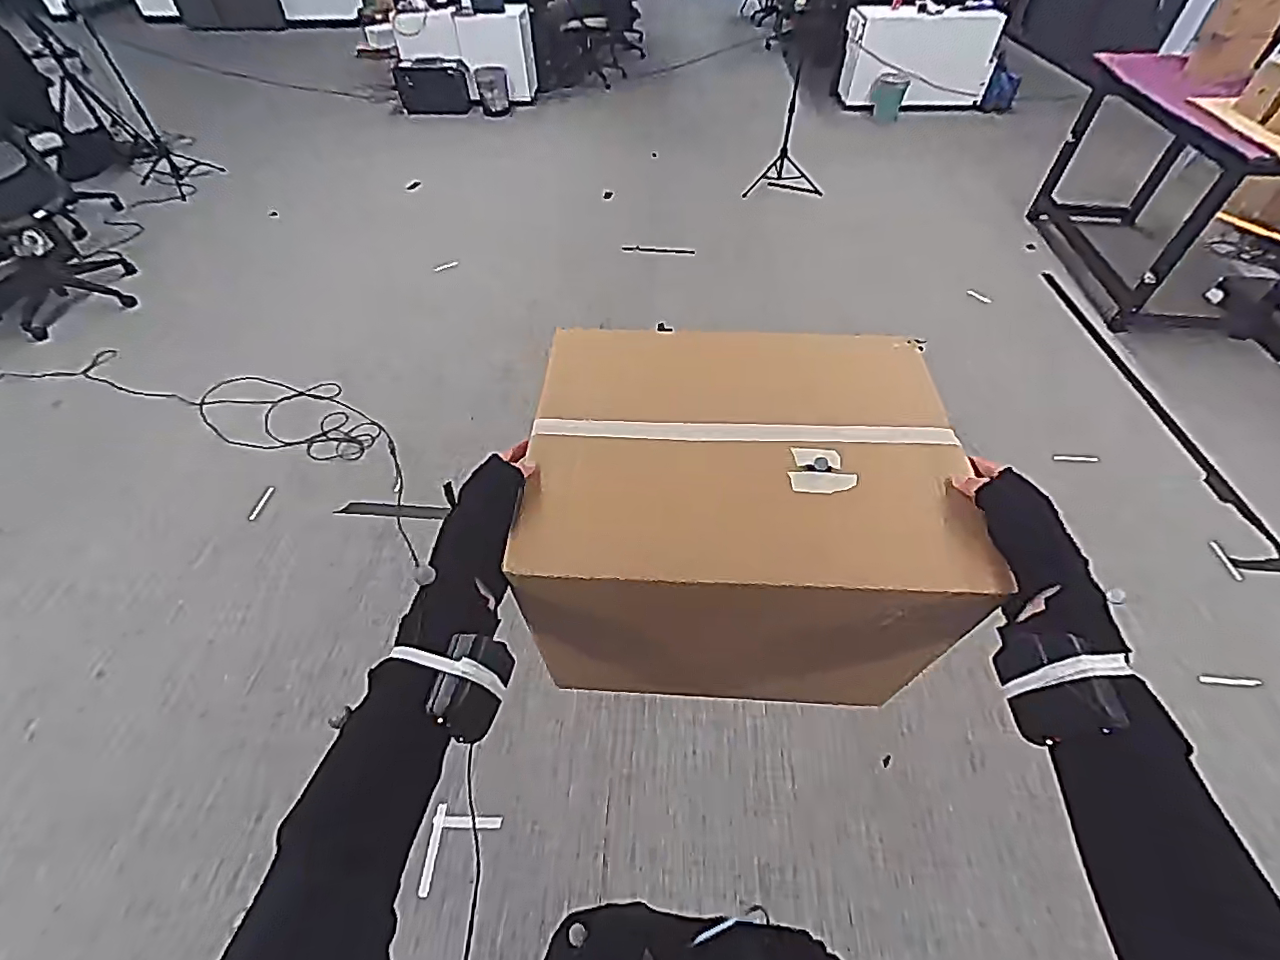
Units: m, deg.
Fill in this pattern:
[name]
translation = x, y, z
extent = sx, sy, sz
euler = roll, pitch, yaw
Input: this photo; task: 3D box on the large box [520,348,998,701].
[large box]
translation = 0.101, 0.061, 0.652
extent = 0.408, 0.320, 0.320
euler = 2, 53, 2
